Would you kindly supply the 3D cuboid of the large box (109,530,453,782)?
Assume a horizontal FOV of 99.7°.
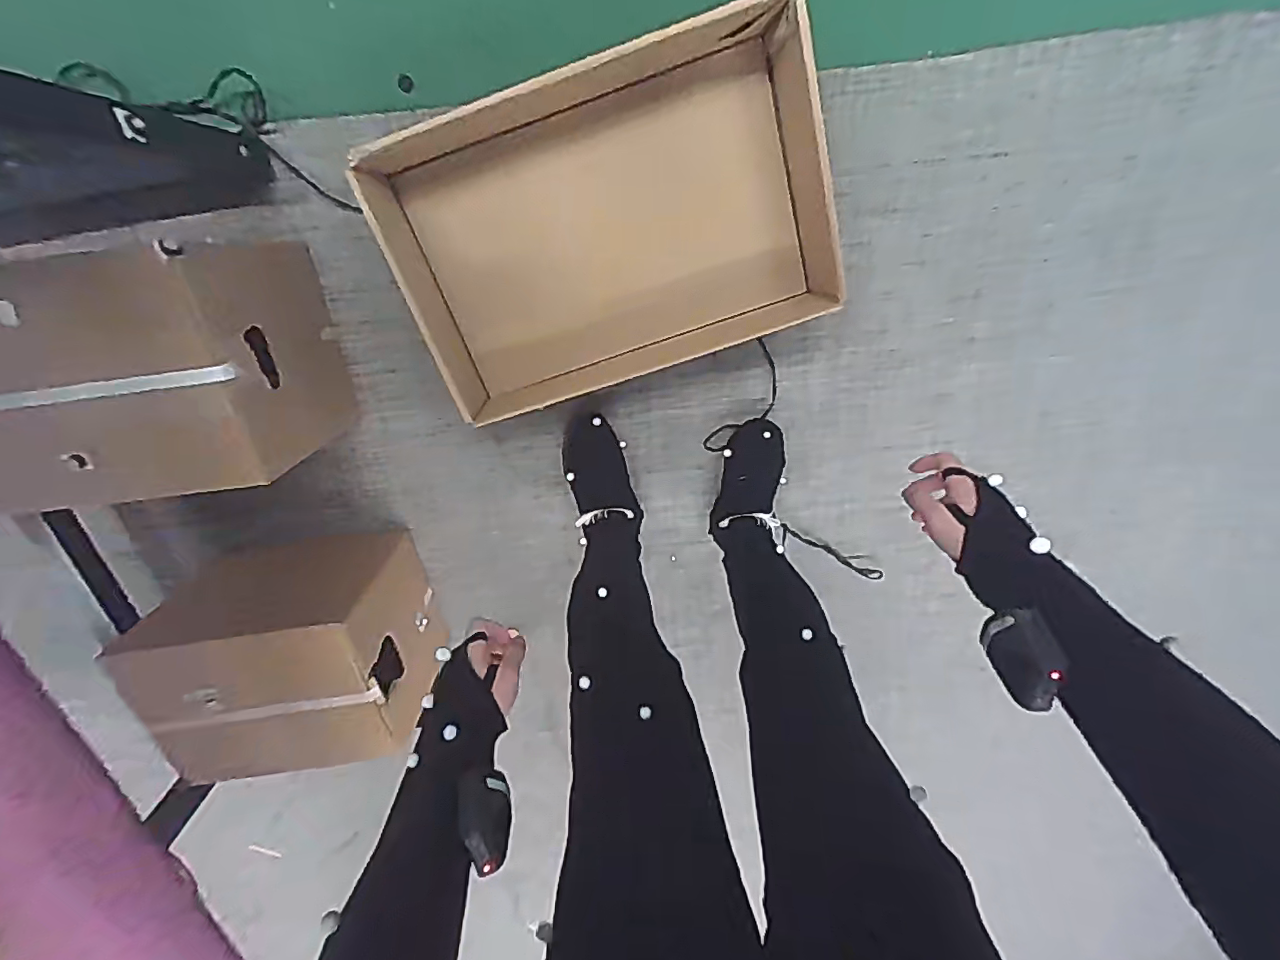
[{"bbox_3d":[-0.643,0.327,1.058,0.408,0.320,0.320,-9,113,2],"label":"large box"}]
